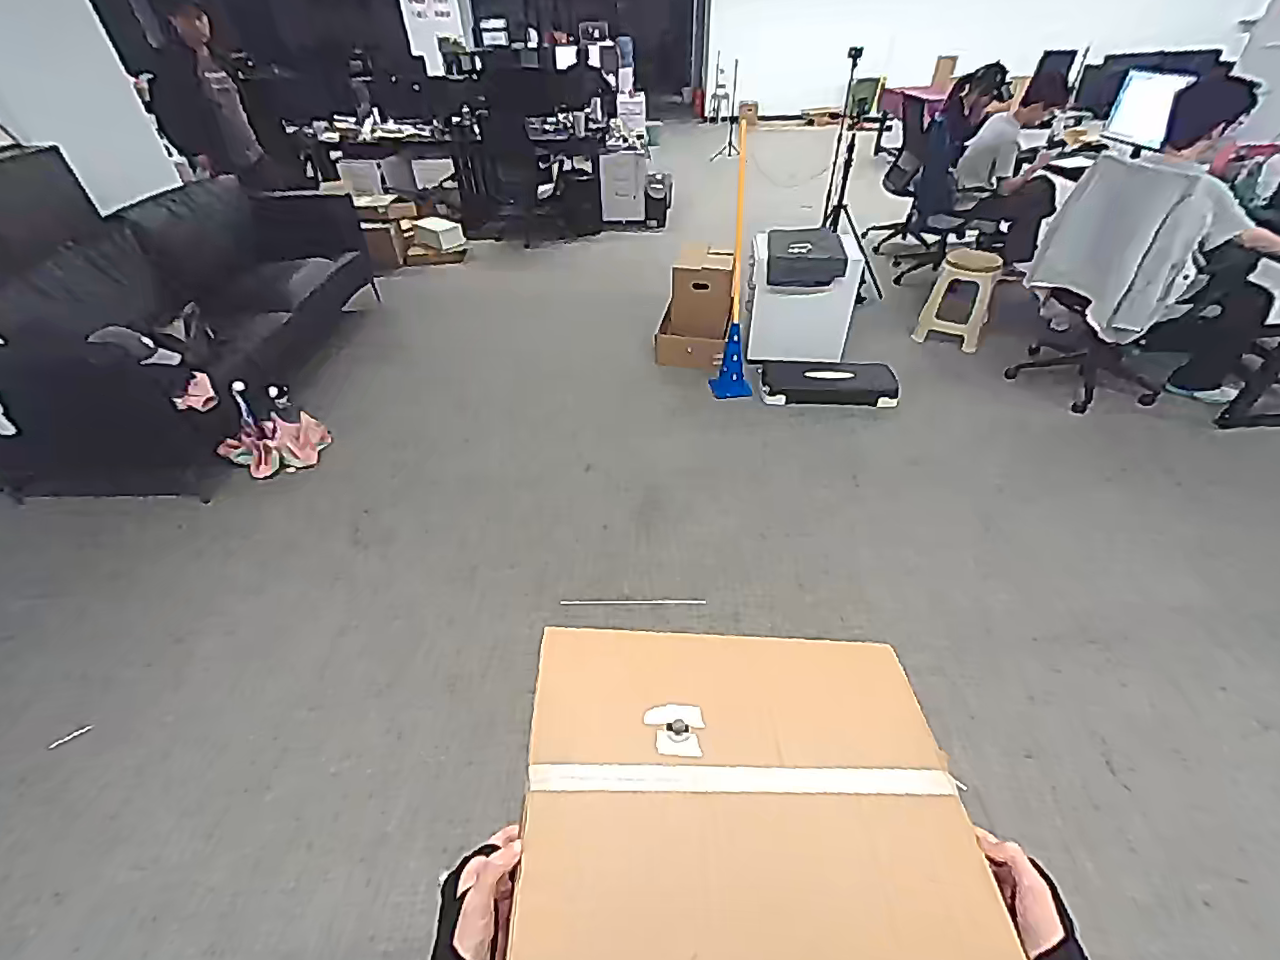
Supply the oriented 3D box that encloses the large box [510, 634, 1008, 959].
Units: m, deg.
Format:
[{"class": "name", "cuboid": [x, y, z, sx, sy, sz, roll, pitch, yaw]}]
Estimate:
[{"class": "large box", "cuboid": [0.080, 0.394, 0.610, 0.408, 0.320, 0.320, 4, 42, -6]}]
